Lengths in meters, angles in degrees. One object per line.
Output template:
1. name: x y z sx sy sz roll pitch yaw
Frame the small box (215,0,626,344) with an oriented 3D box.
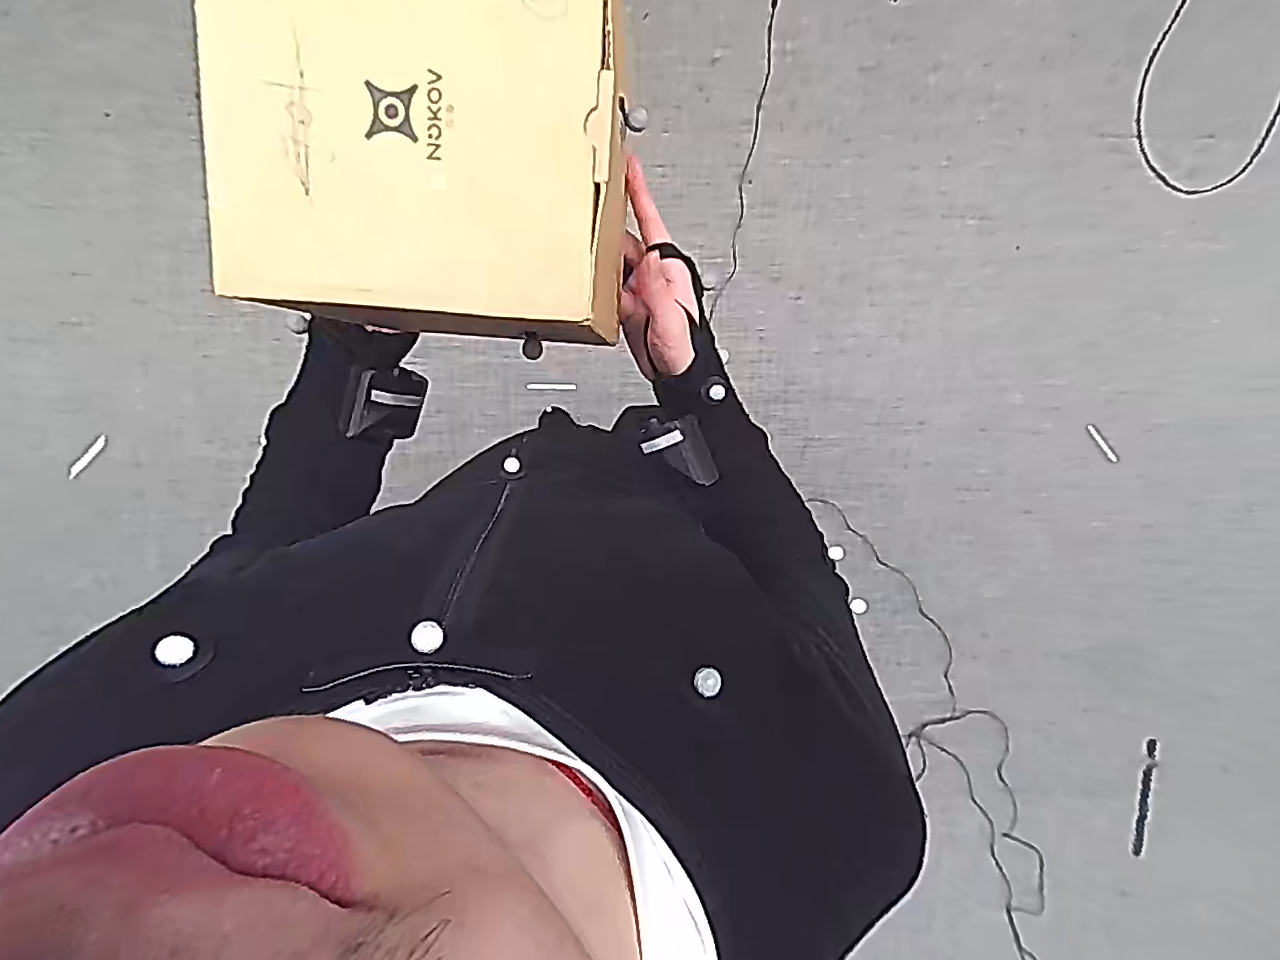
1. small box: -0.102 -0.176 0.323 0.179 0.176 0.168 4 99 1
